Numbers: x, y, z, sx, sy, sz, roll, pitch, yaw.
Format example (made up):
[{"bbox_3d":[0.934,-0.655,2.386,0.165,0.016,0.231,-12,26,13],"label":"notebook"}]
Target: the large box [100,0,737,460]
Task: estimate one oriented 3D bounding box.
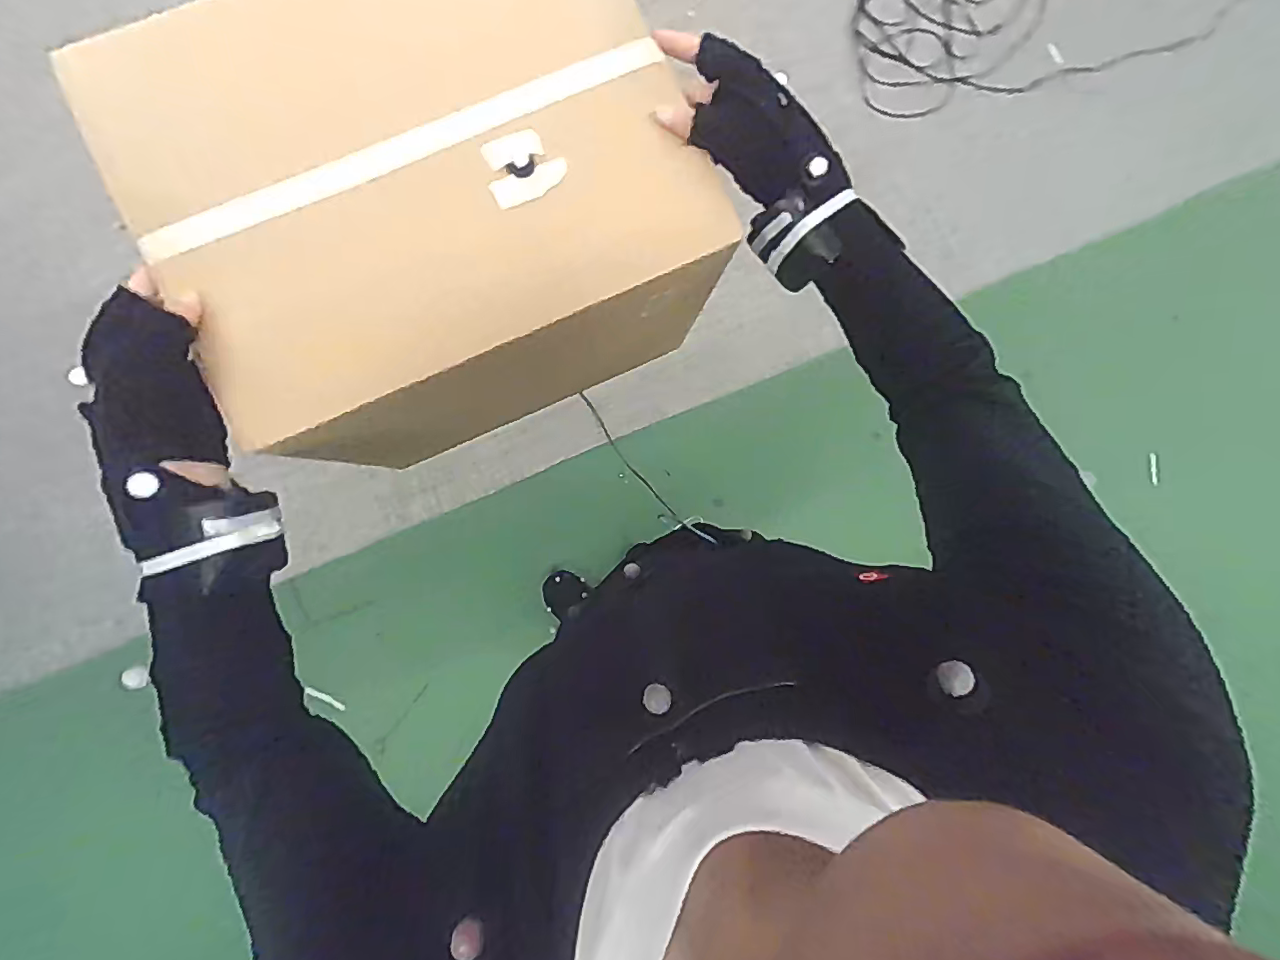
[{"bbox_3d":[-0.174,-0.248,0.564,0.408,0.320,0.320,-25,91,-5],"label":"large box"}]
